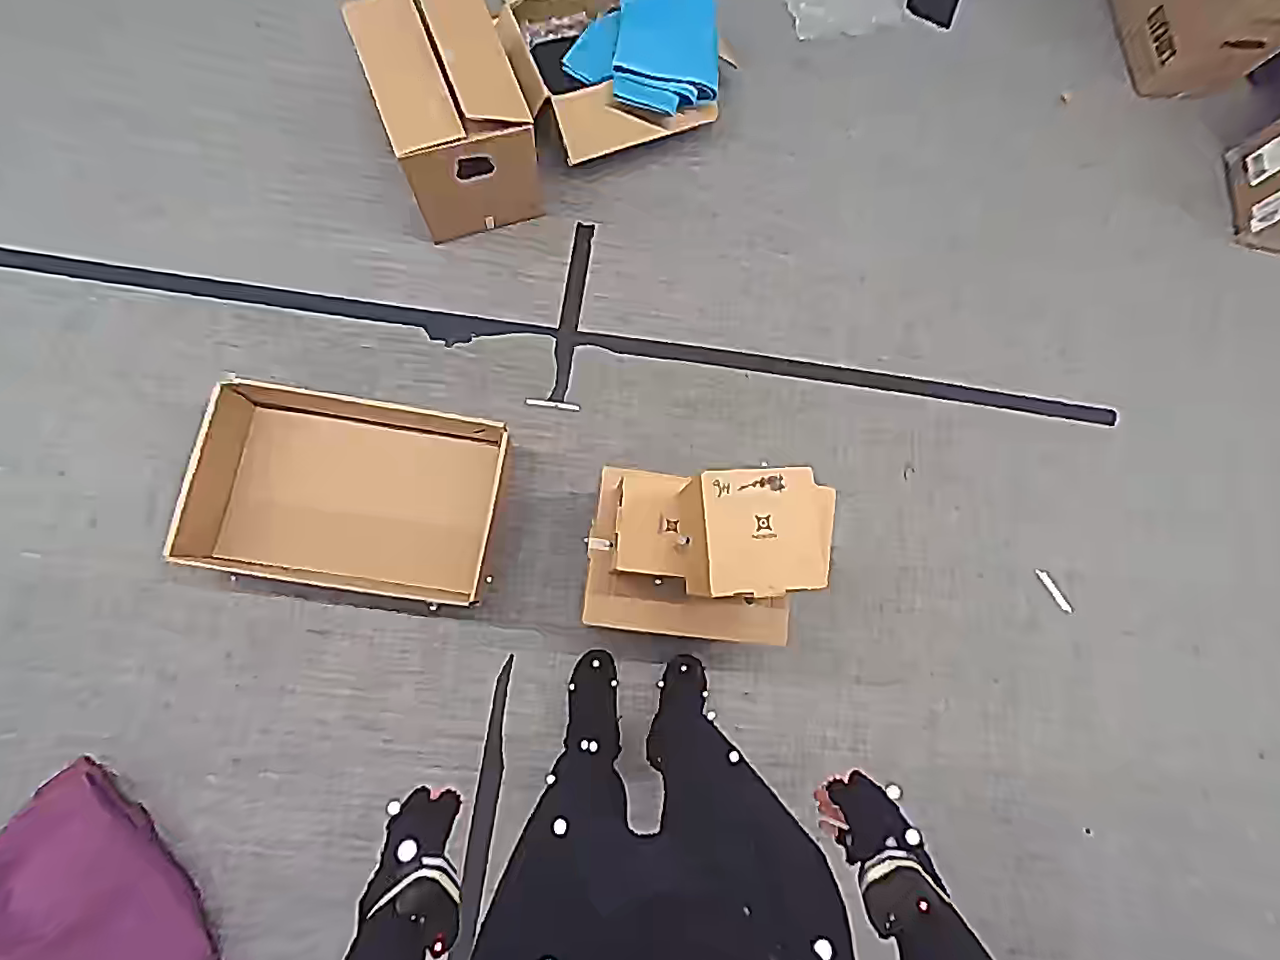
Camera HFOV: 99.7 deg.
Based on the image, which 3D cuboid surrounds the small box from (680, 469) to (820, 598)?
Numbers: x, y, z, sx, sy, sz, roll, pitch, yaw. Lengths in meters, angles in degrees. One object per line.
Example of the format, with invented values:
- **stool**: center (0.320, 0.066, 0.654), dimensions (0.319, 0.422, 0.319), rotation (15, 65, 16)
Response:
- **small box**: center (0.159, 0.085, 0.831), dimensions (0.168, 0.176, 0.179), rotation (-2, 80, -7)

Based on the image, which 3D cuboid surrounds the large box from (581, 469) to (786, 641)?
- **large box**: center (0.083, 0.178, 1.221), dimensions (0.408, 0.320, 0.320), rotation (7, 79, -6)

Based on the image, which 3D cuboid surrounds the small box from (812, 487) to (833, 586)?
- **small box**: center (0.236, 0.102, 1.004), dimensions (0.168, 0.176, 0.179), rotation (12, 77, -4)
